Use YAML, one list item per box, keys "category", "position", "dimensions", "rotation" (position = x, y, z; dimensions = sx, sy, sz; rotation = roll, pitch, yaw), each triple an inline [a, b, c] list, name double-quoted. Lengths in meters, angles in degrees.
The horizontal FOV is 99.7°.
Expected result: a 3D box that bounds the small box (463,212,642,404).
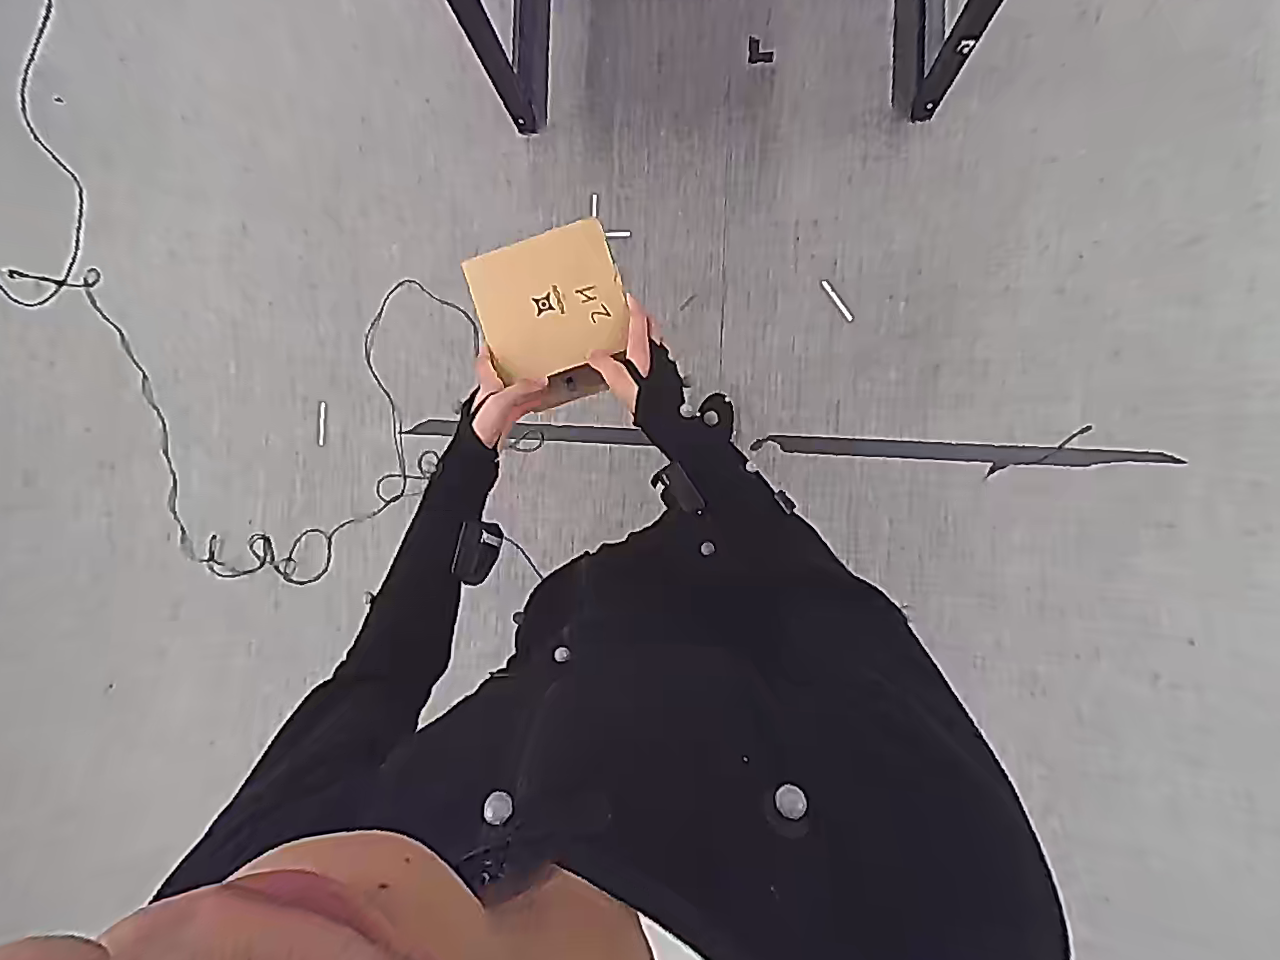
- category: "small box"
  position: [-0.102, -0.209, 0.711]
  dimensions: [0.179, 0.176, 0.168]
  rotation: [-18, 89, 1]
